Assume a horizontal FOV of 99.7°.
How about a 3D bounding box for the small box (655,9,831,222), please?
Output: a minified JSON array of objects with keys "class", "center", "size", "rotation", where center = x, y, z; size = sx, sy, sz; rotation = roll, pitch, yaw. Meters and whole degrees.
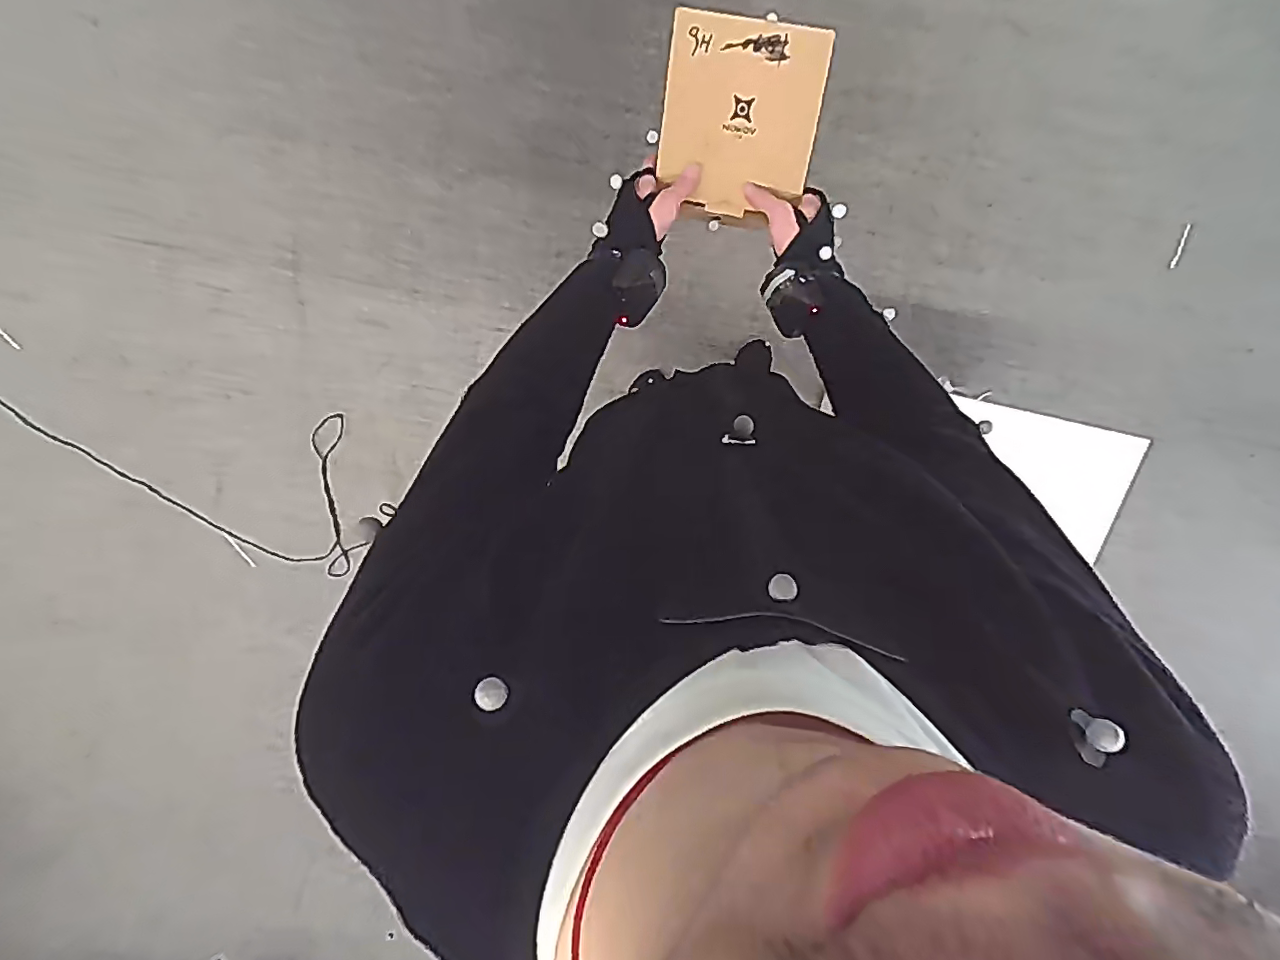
[{"class":"small box","center":[0.109,-0.418,0.653],"size":[0.168,0.176,0.179],"rotation":[5,110,-1]}]
